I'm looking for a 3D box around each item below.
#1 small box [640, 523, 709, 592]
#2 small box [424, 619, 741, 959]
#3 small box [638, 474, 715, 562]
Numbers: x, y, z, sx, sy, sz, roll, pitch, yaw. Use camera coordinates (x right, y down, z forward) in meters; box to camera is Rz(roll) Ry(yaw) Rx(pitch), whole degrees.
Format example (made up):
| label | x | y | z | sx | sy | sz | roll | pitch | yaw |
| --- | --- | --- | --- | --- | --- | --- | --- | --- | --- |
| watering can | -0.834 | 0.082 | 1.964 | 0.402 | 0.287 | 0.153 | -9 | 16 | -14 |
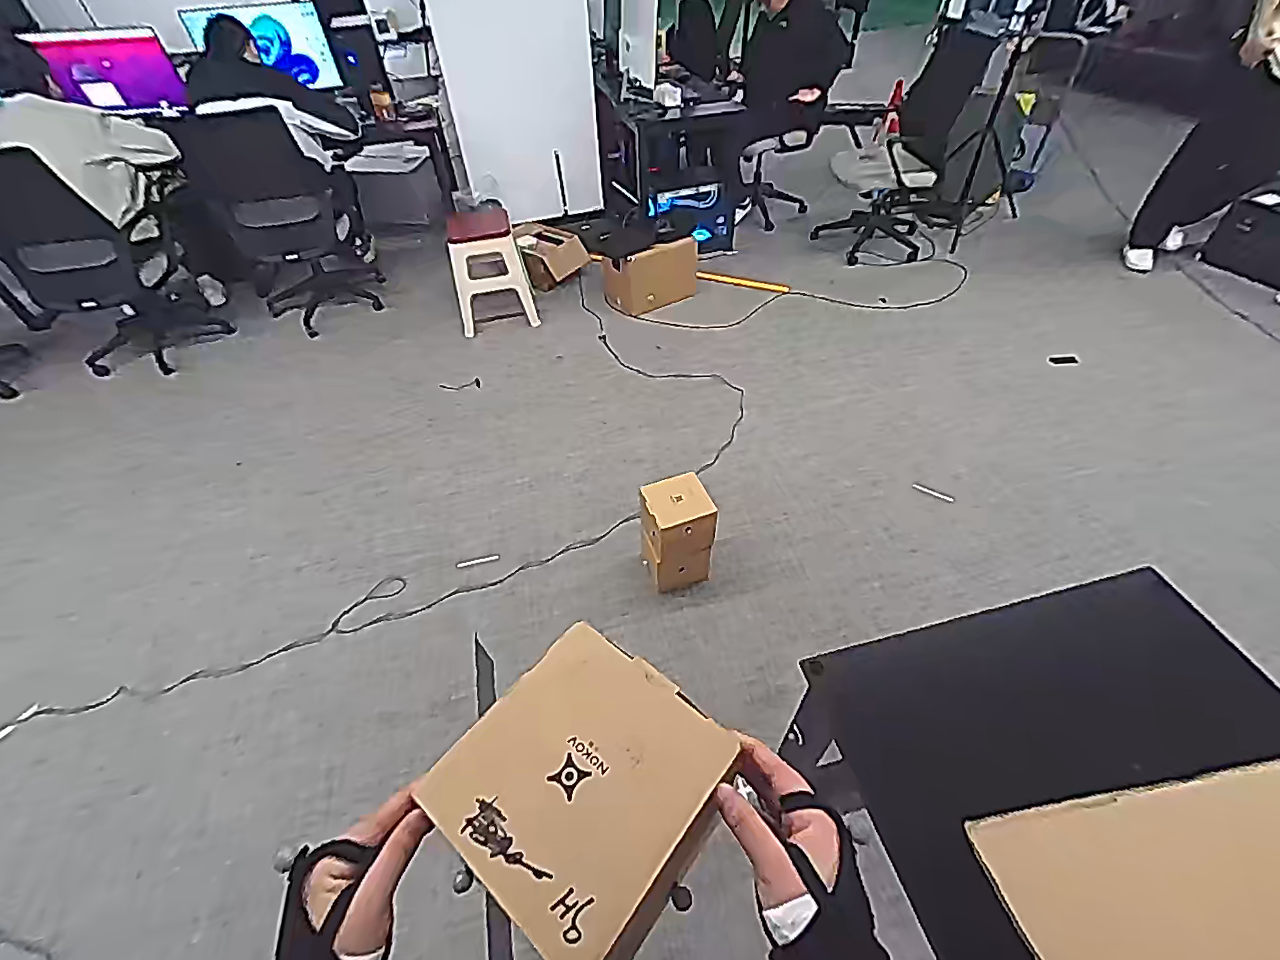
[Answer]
| label | x | y | z | sx | sy | sz | roll | pitch | yaw |
| --- | --- | --- | --- | --- | --- | --- | --- | --- | --- |
| small box | 0.106 | 0.228 | 1.713 | 0.179 | 0.176 | 0.168 | -16 | 48 | -10 |
| small box | -0.038 | 0.259 | 0.447 | 0.168 | 0.176 | 0.179 | 28 | 52 | 29 |
| small box | 0.105 | 0.116 | 1.596 | 0.179 | 0.176 | 0.168 | -17 | 49 | -13 |
